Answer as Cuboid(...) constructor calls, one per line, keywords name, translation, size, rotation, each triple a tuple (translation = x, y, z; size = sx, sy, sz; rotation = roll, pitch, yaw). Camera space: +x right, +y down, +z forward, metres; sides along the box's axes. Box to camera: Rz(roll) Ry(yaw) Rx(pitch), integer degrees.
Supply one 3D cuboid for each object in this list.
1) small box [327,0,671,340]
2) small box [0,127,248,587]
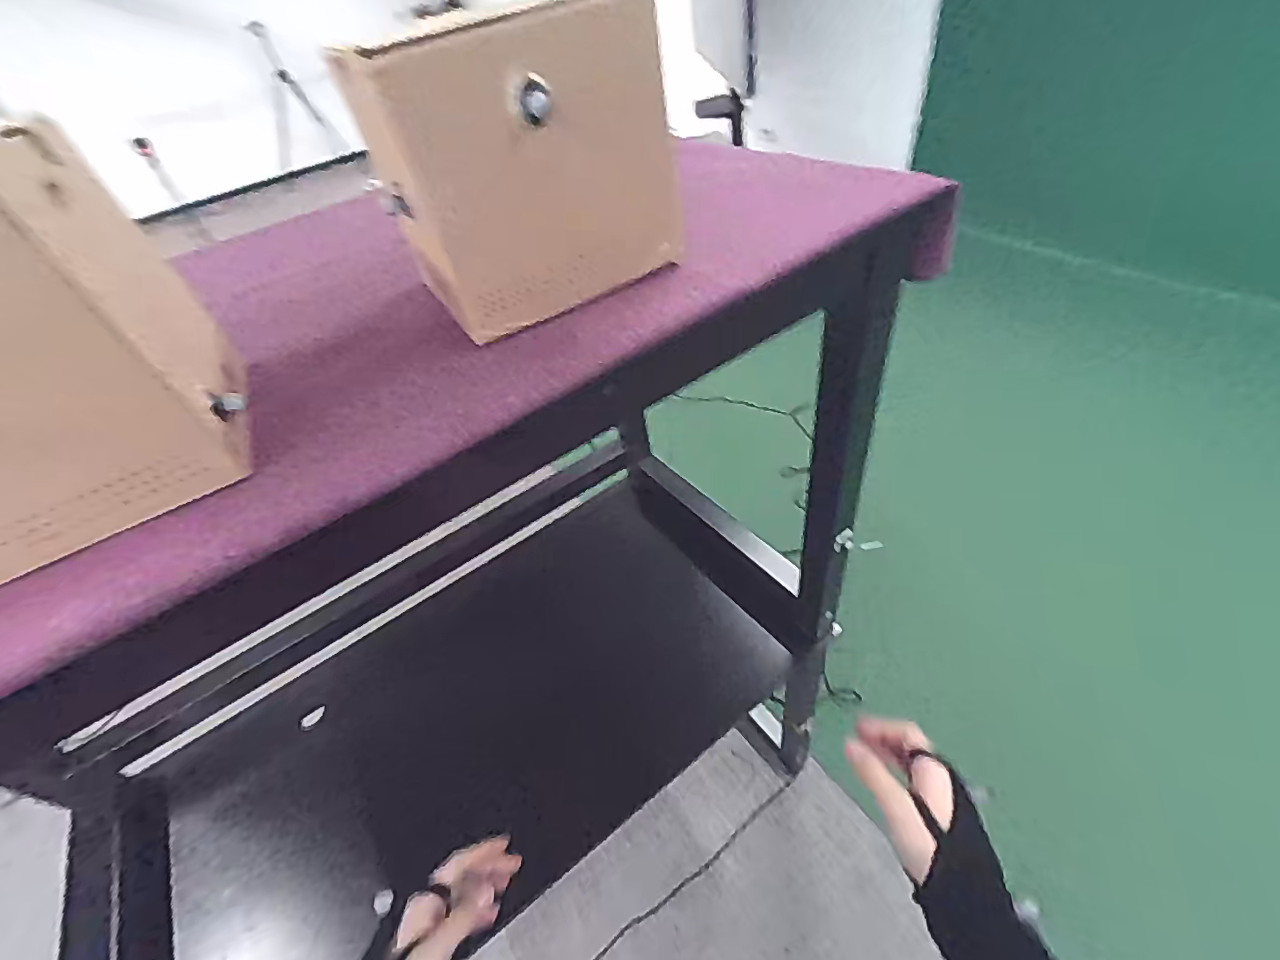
Cuboid(name="small box", translation=(-0.095, -0.229, 0.404), size=(0.179, 0.176, 0.168), rotation=(-28, 45, -15))
Cuboid(name="small box", translation=(-0.350, -0.063, 0.293), size=(0.179, 0.176, 0.168), rotation=(-29, 45, -15))
